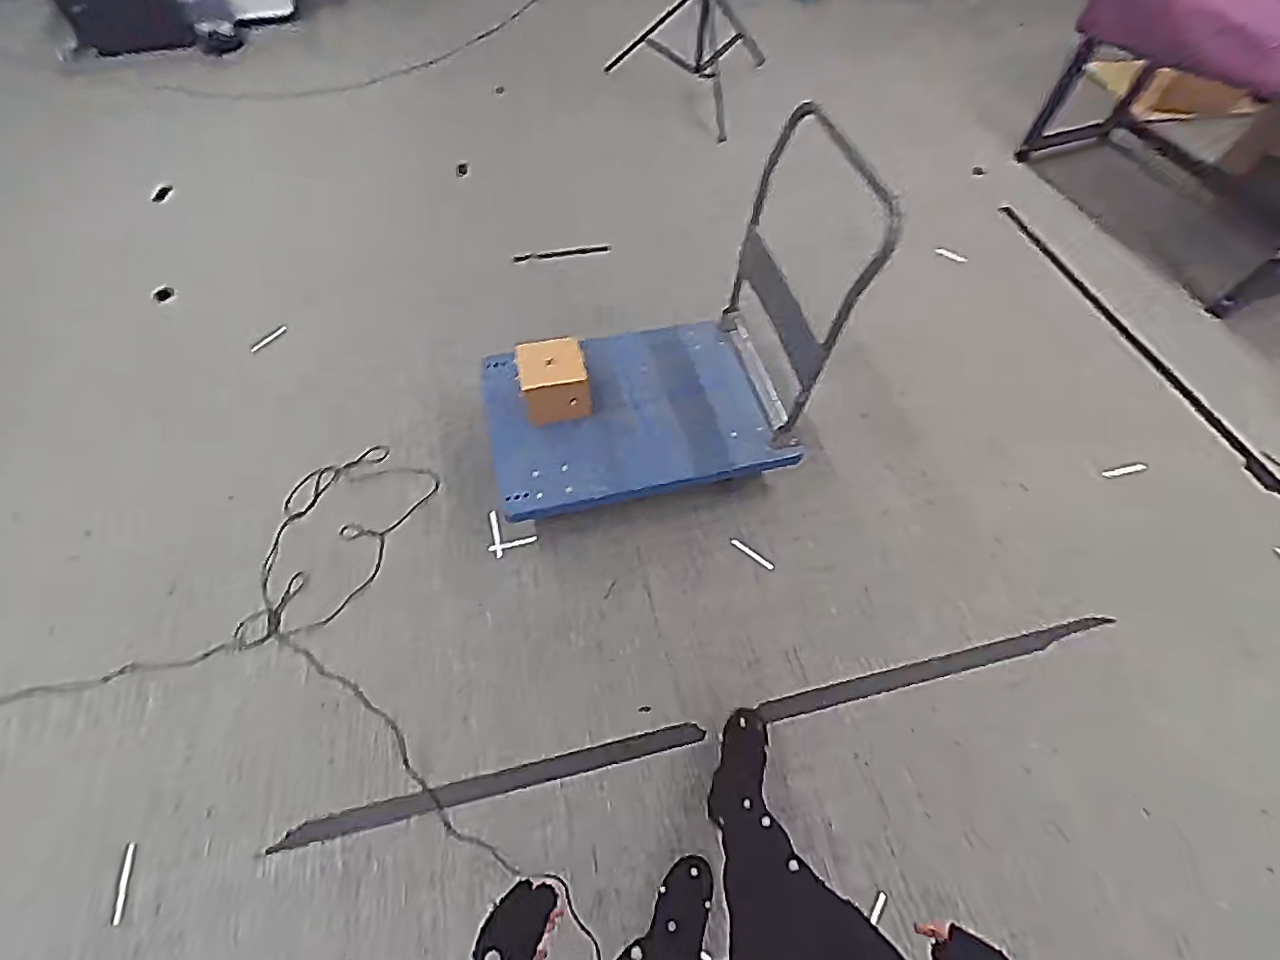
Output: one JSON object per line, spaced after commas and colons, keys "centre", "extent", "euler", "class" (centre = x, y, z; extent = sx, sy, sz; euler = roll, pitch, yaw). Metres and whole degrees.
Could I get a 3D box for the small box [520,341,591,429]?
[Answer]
{"centre": [-0.238, -0.269, 1.550], "extent": [0.179, 0.176, 0.168], "euler": [-11, 59, -8], "class": "small box"}
